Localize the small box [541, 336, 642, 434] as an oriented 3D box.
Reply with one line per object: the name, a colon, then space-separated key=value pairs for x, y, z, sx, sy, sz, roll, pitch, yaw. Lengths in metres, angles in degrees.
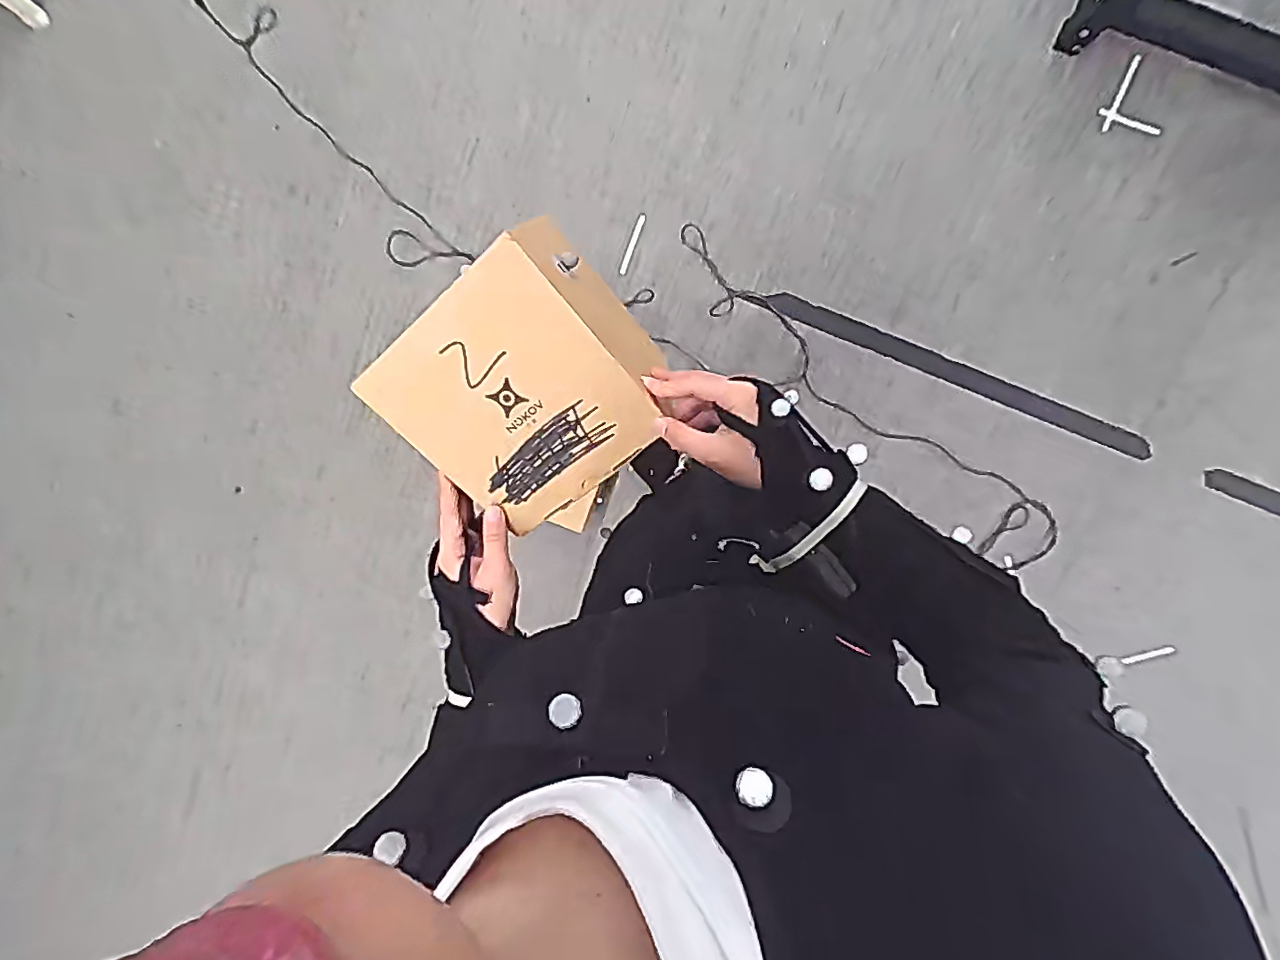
small box: x=-0.103 y=-0.212 z=1.229 sx=0.179 sy=0.176 sz=0.168 roll=19 pitch=100 yaw=-1

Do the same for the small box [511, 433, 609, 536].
small box: x=-0.179 y=0.003 z=1.268 sx=0.168 sy=0.176 sz=0.179 roll=21 pitch=101 yaw=-1
